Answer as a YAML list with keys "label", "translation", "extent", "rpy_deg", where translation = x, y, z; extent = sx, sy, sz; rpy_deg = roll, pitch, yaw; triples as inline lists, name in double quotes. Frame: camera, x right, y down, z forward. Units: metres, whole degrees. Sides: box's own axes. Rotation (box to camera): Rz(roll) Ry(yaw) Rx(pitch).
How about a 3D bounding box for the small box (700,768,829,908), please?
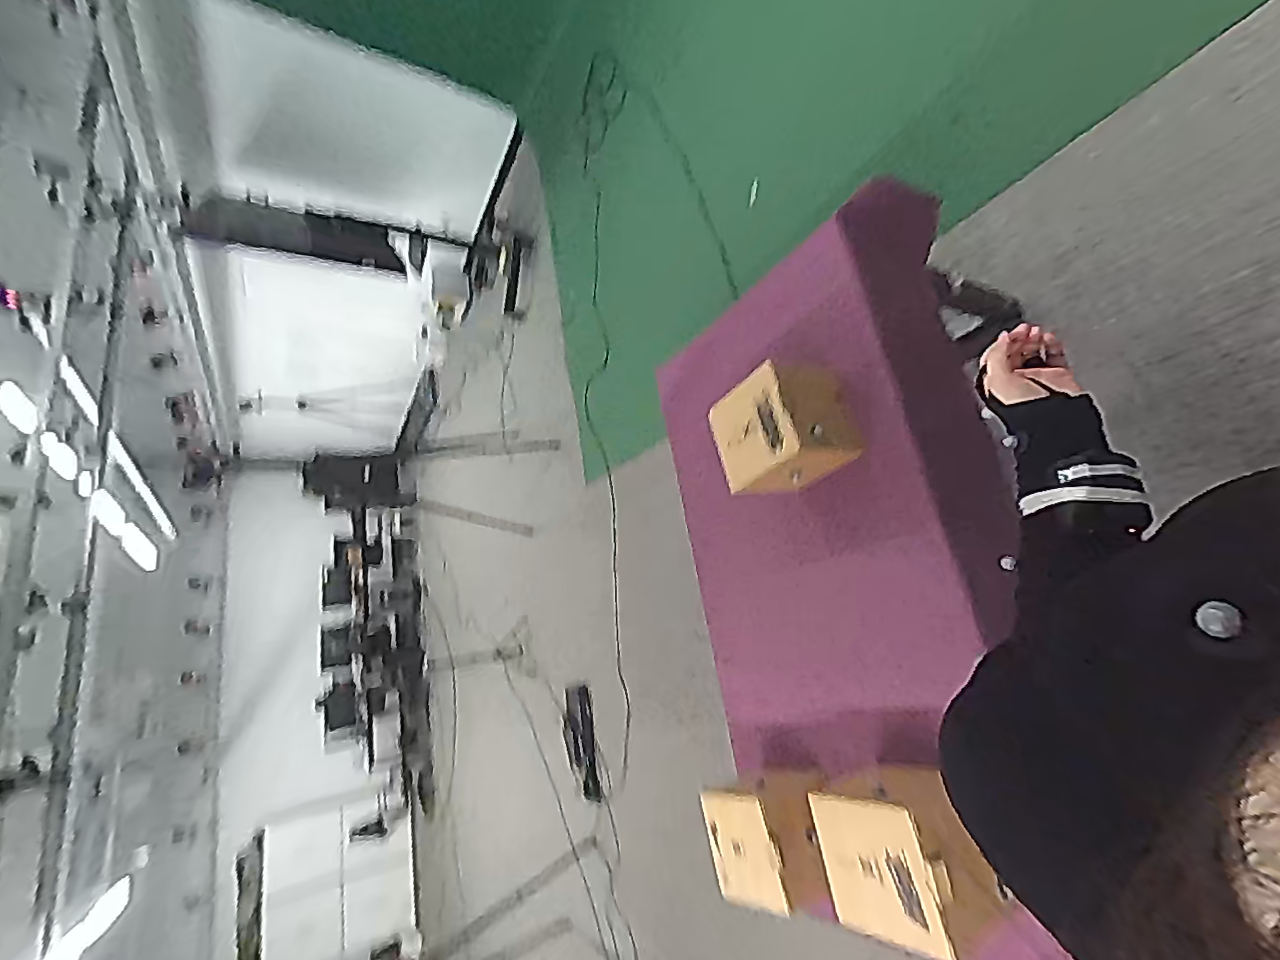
- label: "small box"
  translation: [0.242, 0.636, 0.986]
  extent: [0.179, 0.176, 0.168]
  rpy_deg: [-38, 58, 49]

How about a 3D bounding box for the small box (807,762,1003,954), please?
- label: "small box"
  translation: [0.379, 0.518, 0.774]
  extent: [0.179, 0.176, 0.168]
  rpy_deg: [-36, 59, 53]
